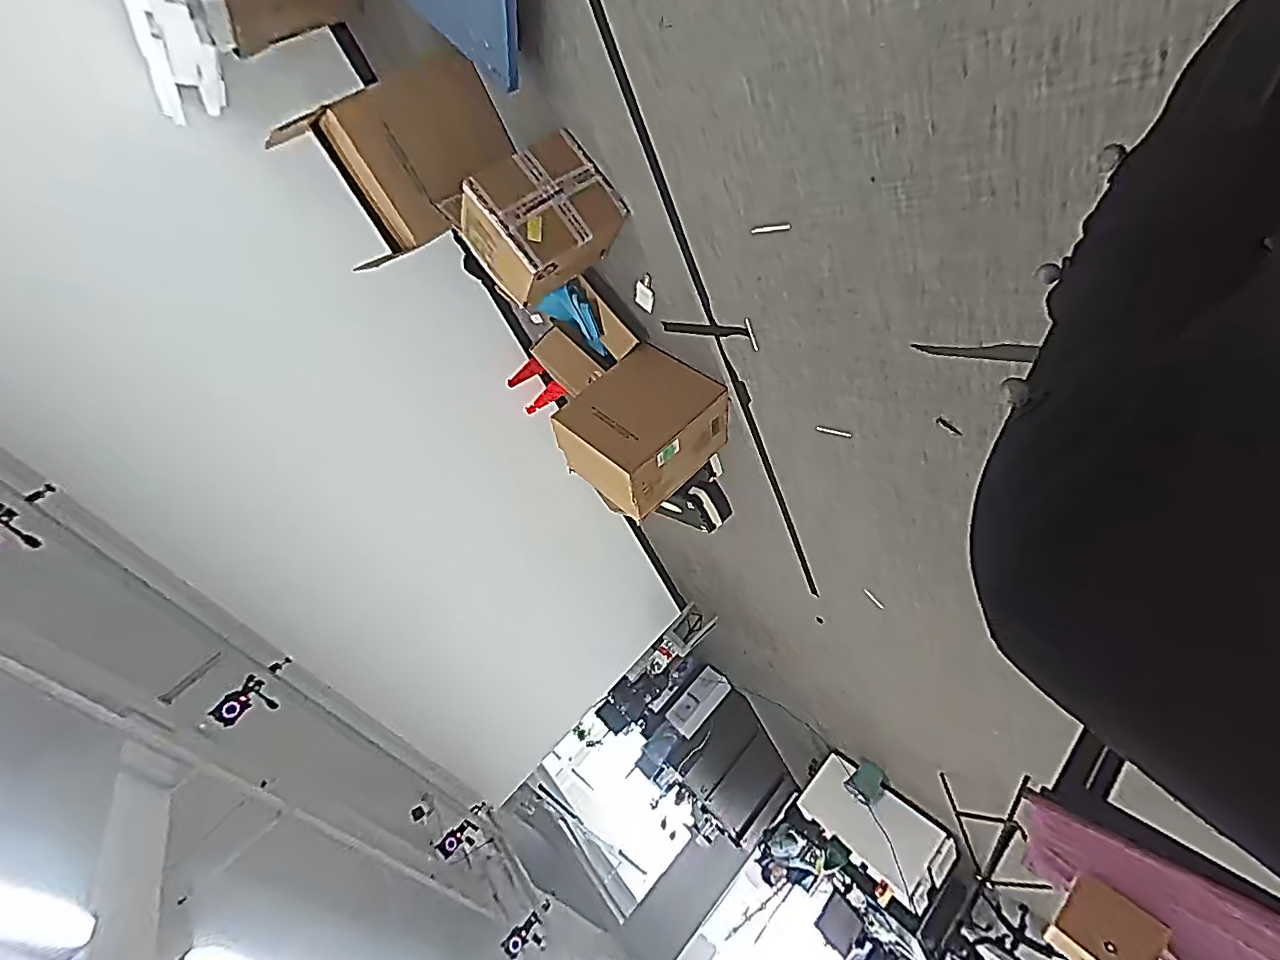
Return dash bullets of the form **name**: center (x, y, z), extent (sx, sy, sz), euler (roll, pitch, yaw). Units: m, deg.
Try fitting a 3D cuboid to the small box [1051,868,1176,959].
- **small box**: center (1.156, 1.106, 1.325), extent (0.179, 0.176, 0.168), euler (29, 152, 45)
